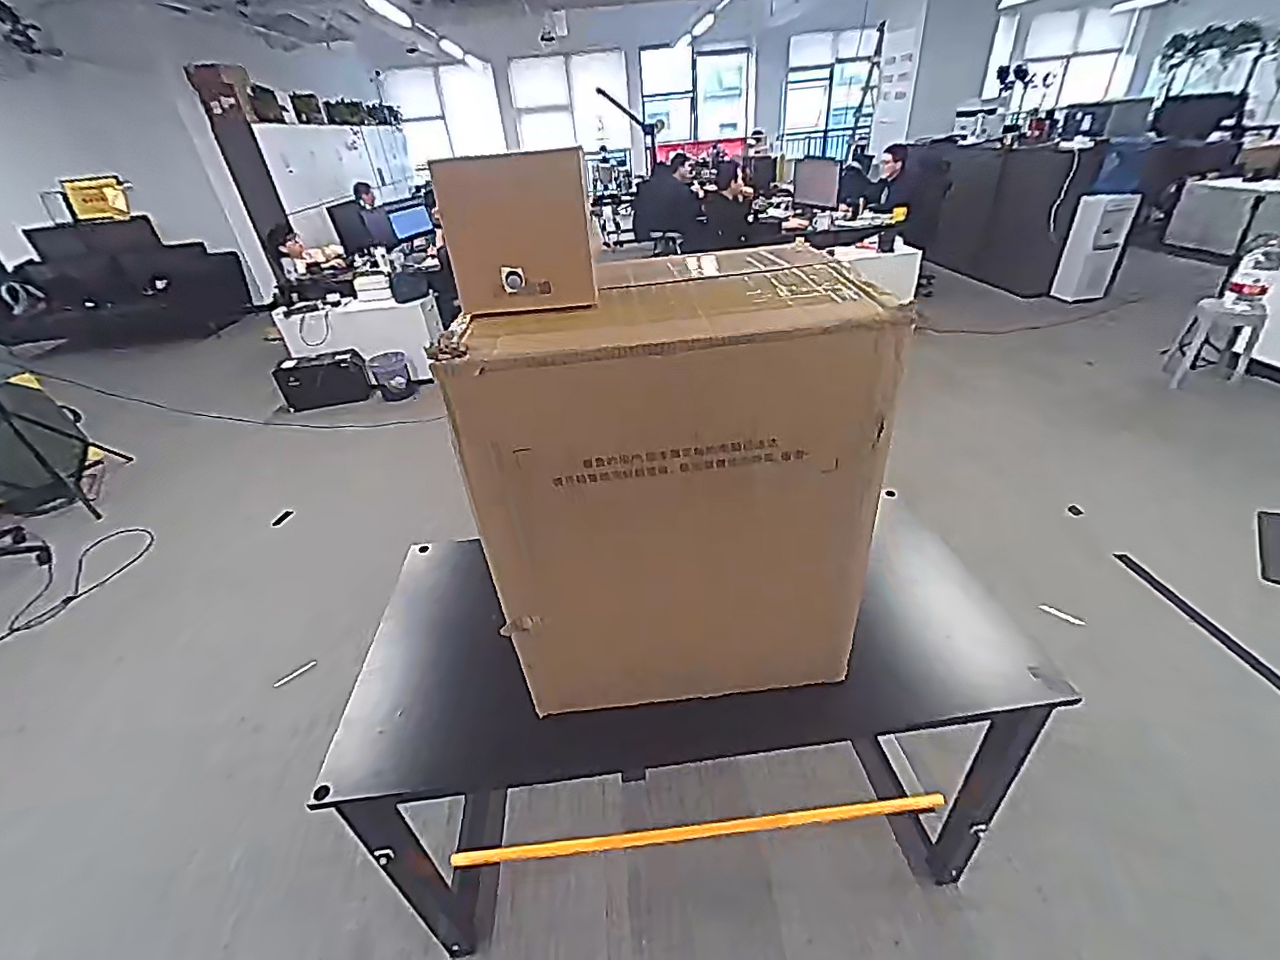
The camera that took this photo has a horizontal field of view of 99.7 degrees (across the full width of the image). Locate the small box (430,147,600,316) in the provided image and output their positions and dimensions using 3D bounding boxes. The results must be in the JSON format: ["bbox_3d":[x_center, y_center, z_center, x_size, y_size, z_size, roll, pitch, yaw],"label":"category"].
[{"bbox_3d":[-0.142,-0.316,0.684,0.168,0.176,0.179,-7,33,-1],"label":"small box"}]
